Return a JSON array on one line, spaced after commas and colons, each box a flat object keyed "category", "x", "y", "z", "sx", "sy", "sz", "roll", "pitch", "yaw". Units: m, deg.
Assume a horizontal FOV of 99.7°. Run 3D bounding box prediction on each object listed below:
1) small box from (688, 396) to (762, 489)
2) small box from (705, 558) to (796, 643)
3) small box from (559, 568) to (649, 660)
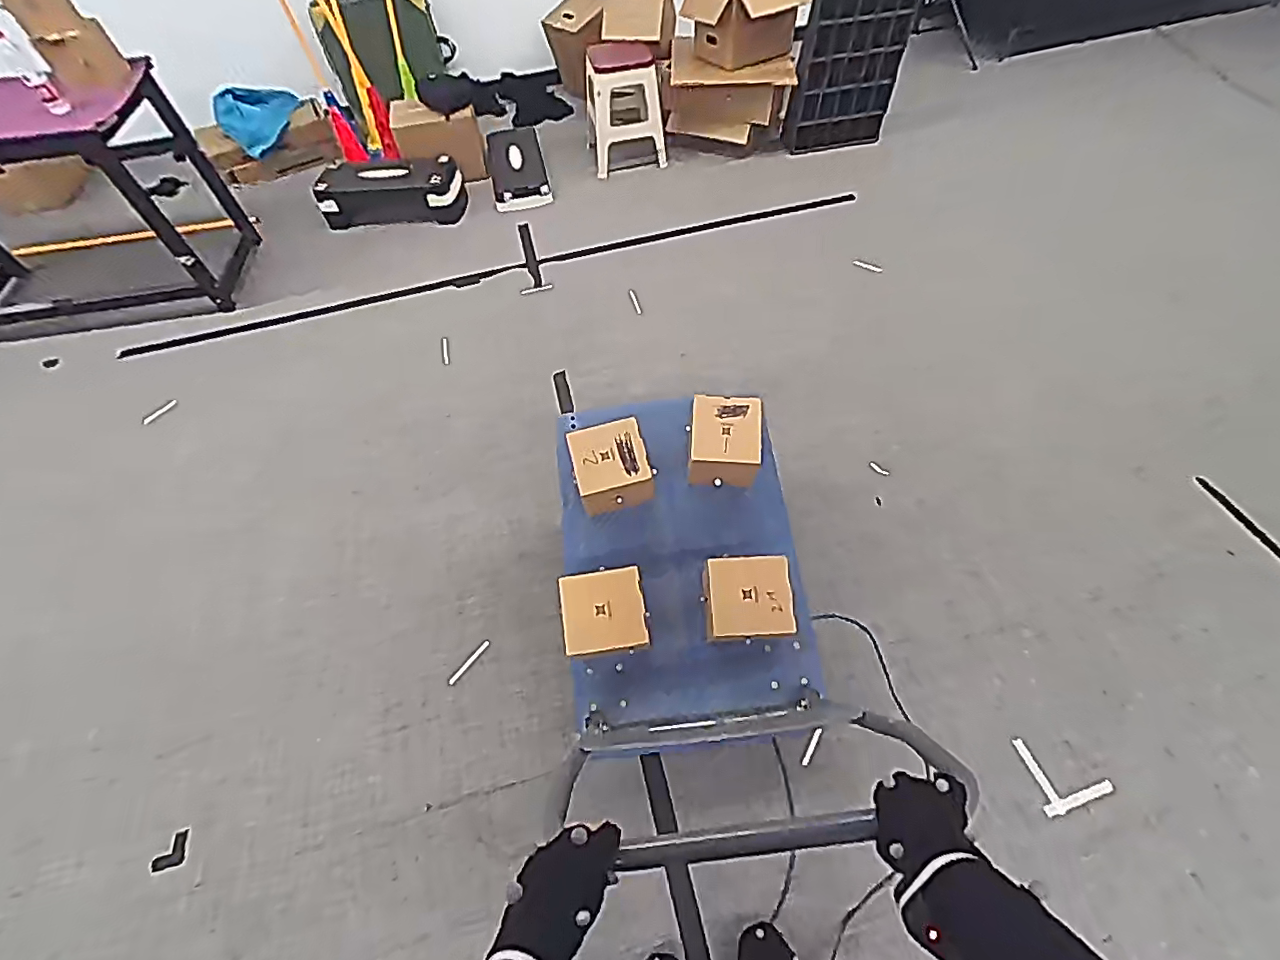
[{"category": "small box", "x": 0.209, "y": -0.092, "z": 1.361, "sx": 0.168, "sy": 0.176, "sz": 0.179, "roll": 3, "pitch": 70, "yaw": 3}, {"category": "small box", "x": 0.239, "y": 0.276, "z": 1.223, "sx": 0.179, "sy": 0.176, "sz": 0.168, "roll": -2, "pitch": 70, "yaw": 1}, {"category": "small box", "x": -0.076, "y": 0.307, "z": 1.220, "sx": 0.179, "sy": 0.176, "sz": 0.168, "roll": -9, "pitch": 69, "yaw": -3}]
